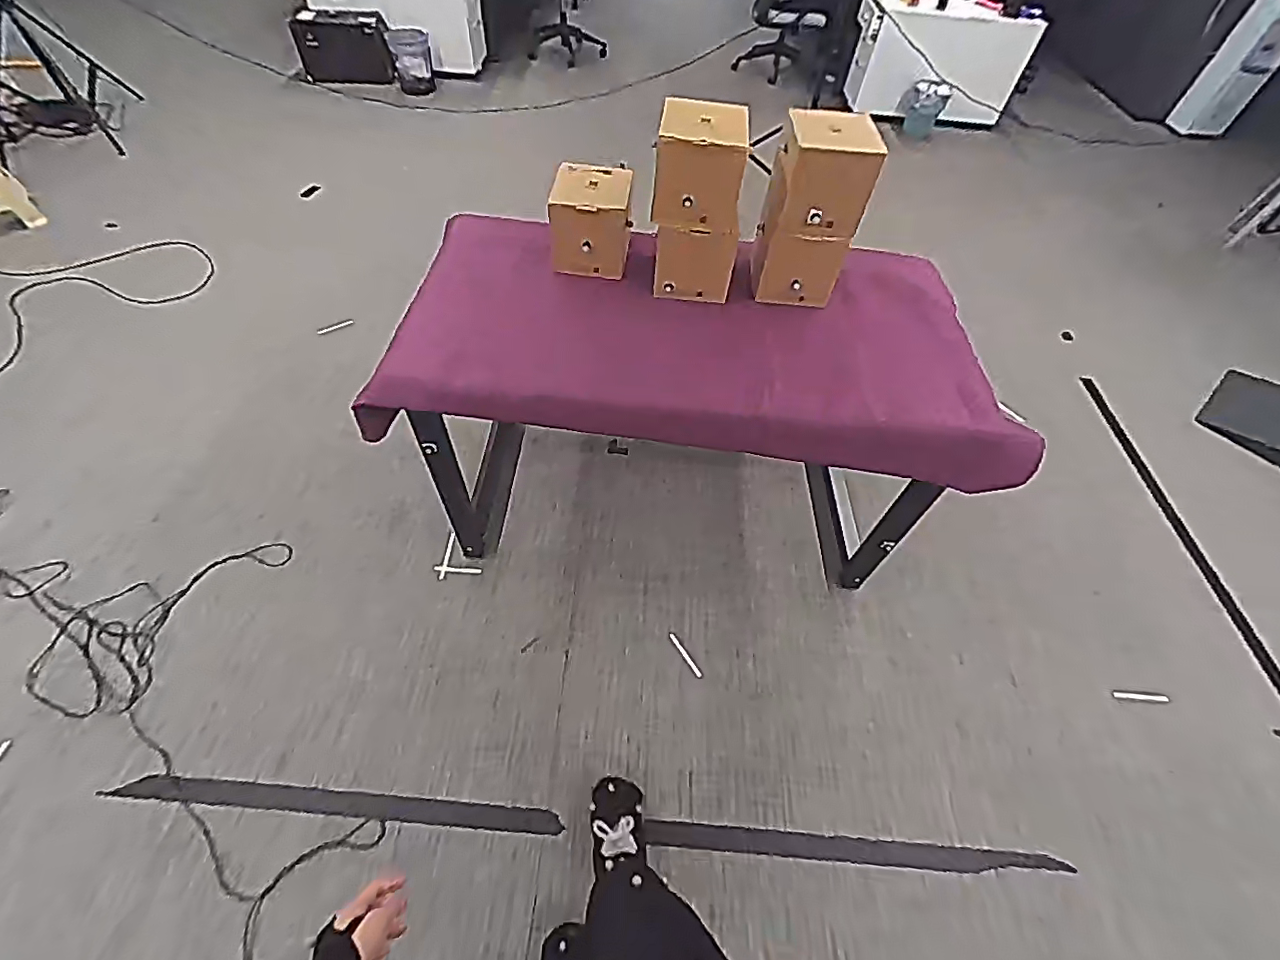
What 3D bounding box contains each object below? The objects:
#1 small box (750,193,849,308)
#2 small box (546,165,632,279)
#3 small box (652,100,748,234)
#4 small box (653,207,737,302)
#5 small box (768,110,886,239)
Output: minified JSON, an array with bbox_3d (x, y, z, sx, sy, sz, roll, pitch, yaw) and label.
[{"bbox_3d":[0.350,-0.517,1.226,0.168,0.176,0.179,5,55,0],"label":"small box"},{"bbox_3d":[-0.111,-0.584,1.235,0.168,0.176,0.179,6,56,0],"label":"small box"},{"bbox_3d":[0.116,-0.622,1.081,0.168,0.176,0.179,7,55,0],"label":"small box"},{"bbox_3d":[0.119,-0.521,1.210,0.168,0.176,0.179,5,54,-1],"label":"small box"},{"bbox_3d":[0.367,-0.616,1.097,0.168,0.176,0.179,2,55,-2],"label":"small box"}]
